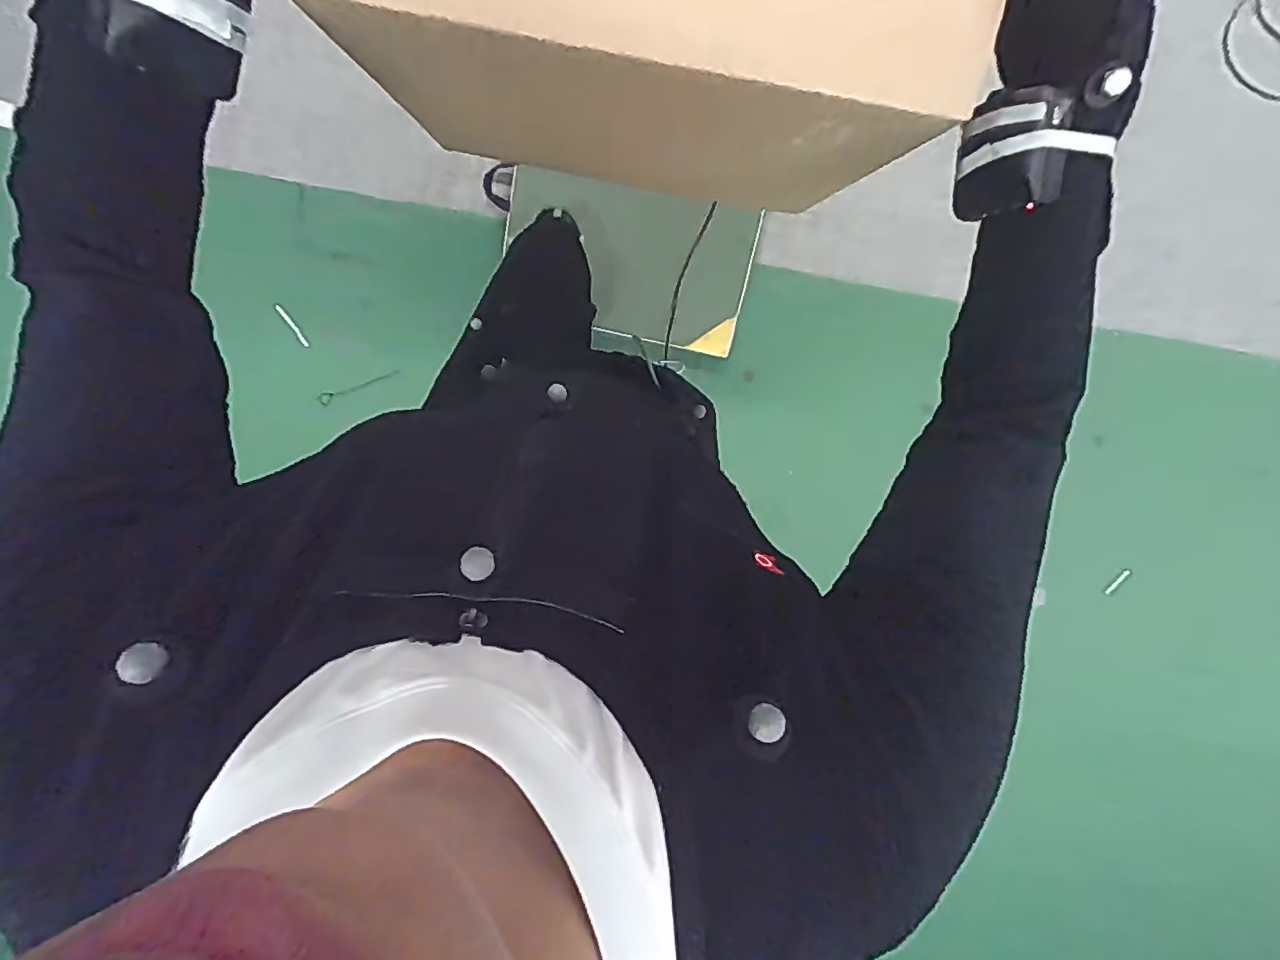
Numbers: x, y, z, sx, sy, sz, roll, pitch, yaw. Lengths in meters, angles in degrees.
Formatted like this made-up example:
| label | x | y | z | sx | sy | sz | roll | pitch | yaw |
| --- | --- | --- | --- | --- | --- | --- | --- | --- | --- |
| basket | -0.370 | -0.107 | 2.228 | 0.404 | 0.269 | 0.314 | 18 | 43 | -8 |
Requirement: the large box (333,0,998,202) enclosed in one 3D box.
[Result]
| label | x | y | z | sx | sy | sz | roll | pitch | yaw |
| --- | --- | --- | --- | --- | --- | --- | --- | --- | --- |
| large box | 0.019 | -0.440 | 0.417 | 0.408 | 0.320 | 0.320 | 7 | 107 | -6 |
